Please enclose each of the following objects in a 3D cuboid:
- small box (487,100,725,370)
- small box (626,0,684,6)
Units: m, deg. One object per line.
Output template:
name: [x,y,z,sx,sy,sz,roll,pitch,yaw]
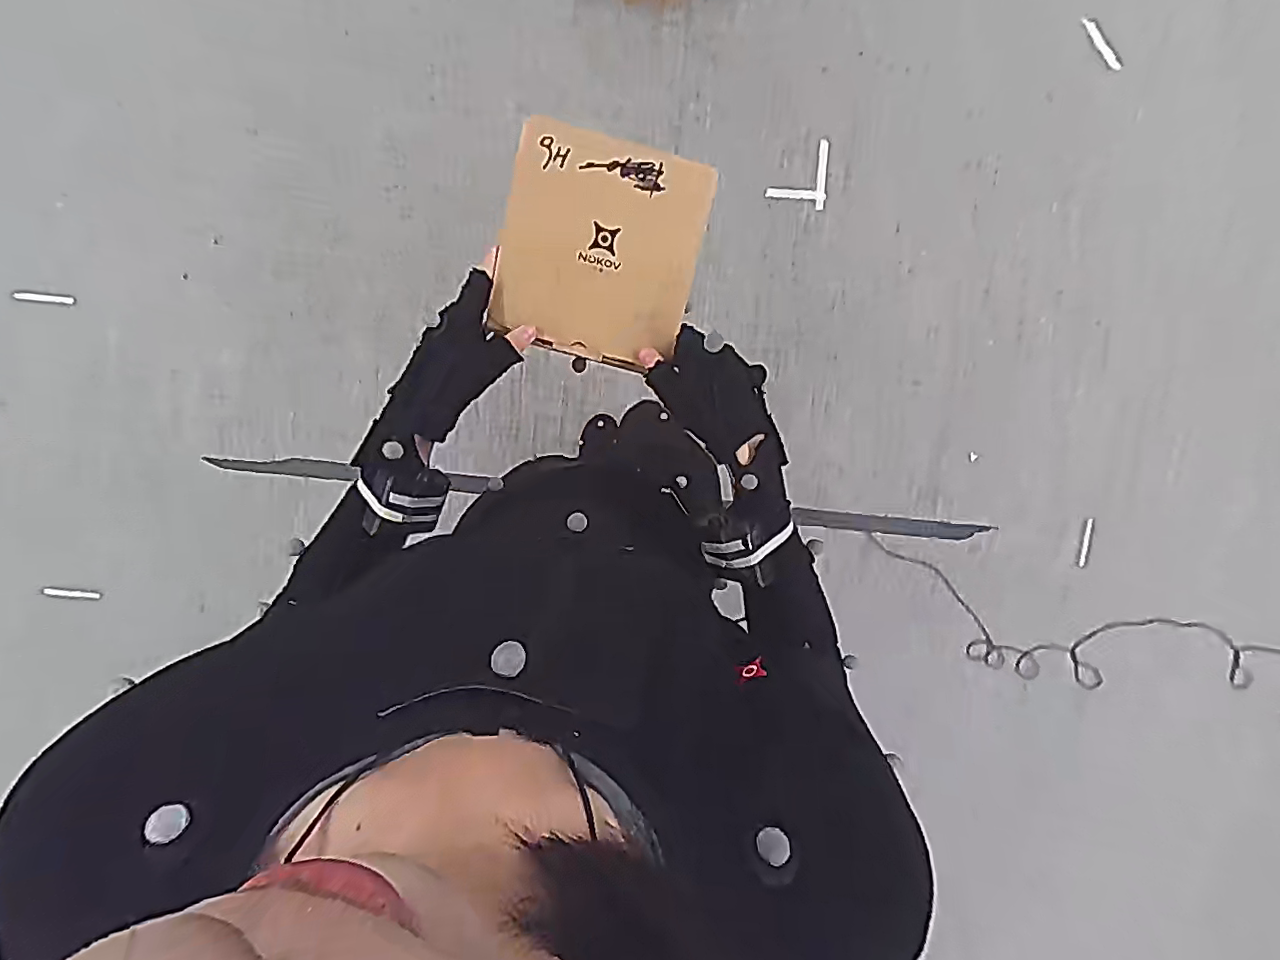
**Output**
small box: [-0.033,-0.212,0.523,0.168,0.176,0.179,14,100,-6]
small box: [0.037,-1.284,1.280,0.168,0.176,0.179,3,97,-2]
